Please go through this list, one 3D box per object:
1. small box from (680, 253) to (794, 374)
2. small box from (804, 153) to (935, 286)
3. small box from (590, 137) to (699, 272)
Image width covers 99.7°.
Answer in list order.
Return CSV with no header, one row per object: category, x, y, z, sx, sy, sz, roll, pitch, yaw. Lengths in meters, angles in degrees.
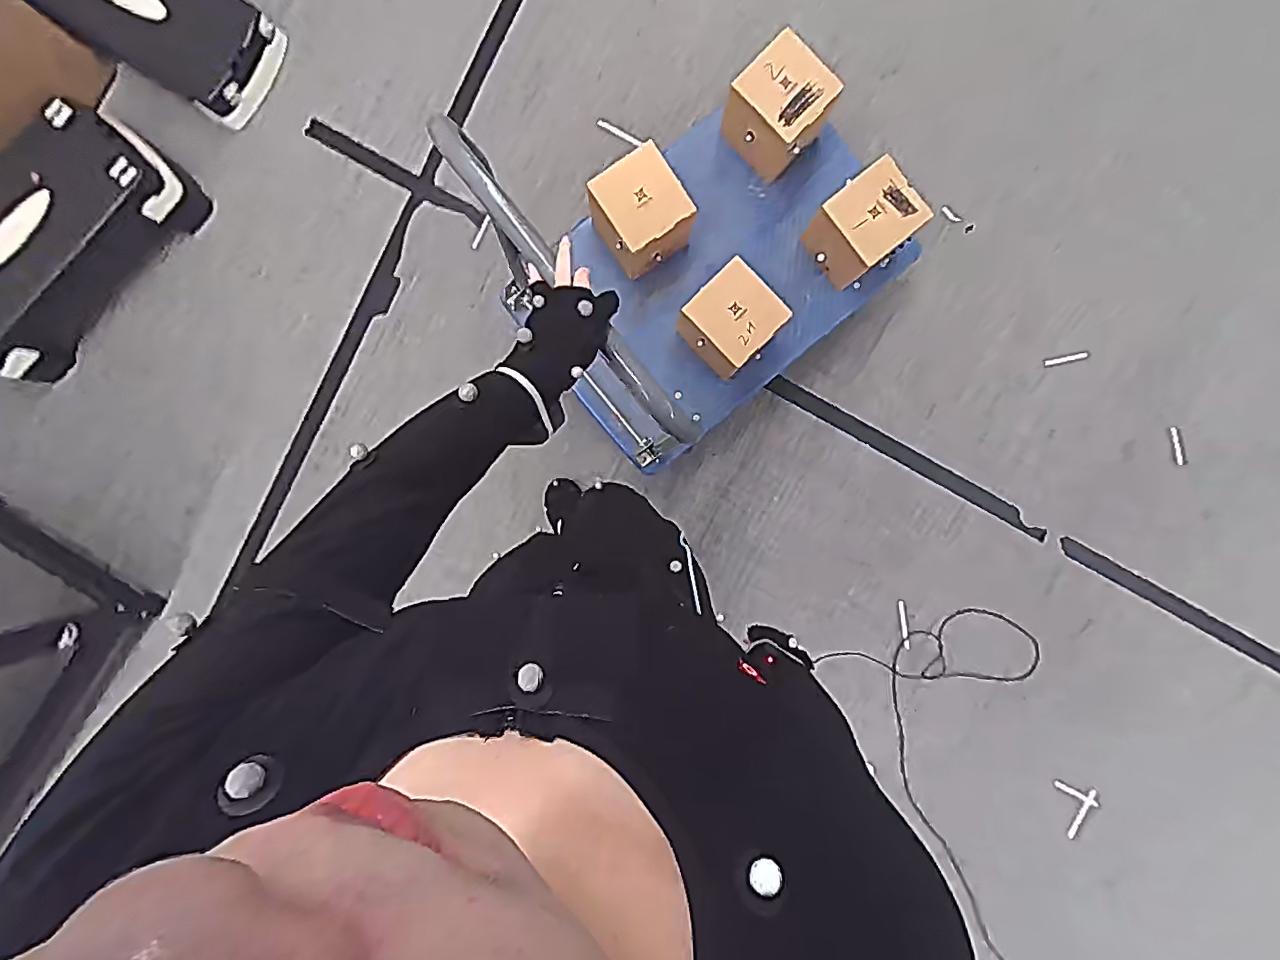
small box,0.204,-0.359,1.205,0.168,0.176,0.179,-44,92,1
small box,0.498,-0.567,1.200,0.179,0.176,0.168,-38,92,2
small box,0.006,-0.595,1.193,0.168,0.176,0.179,-34,94,0
